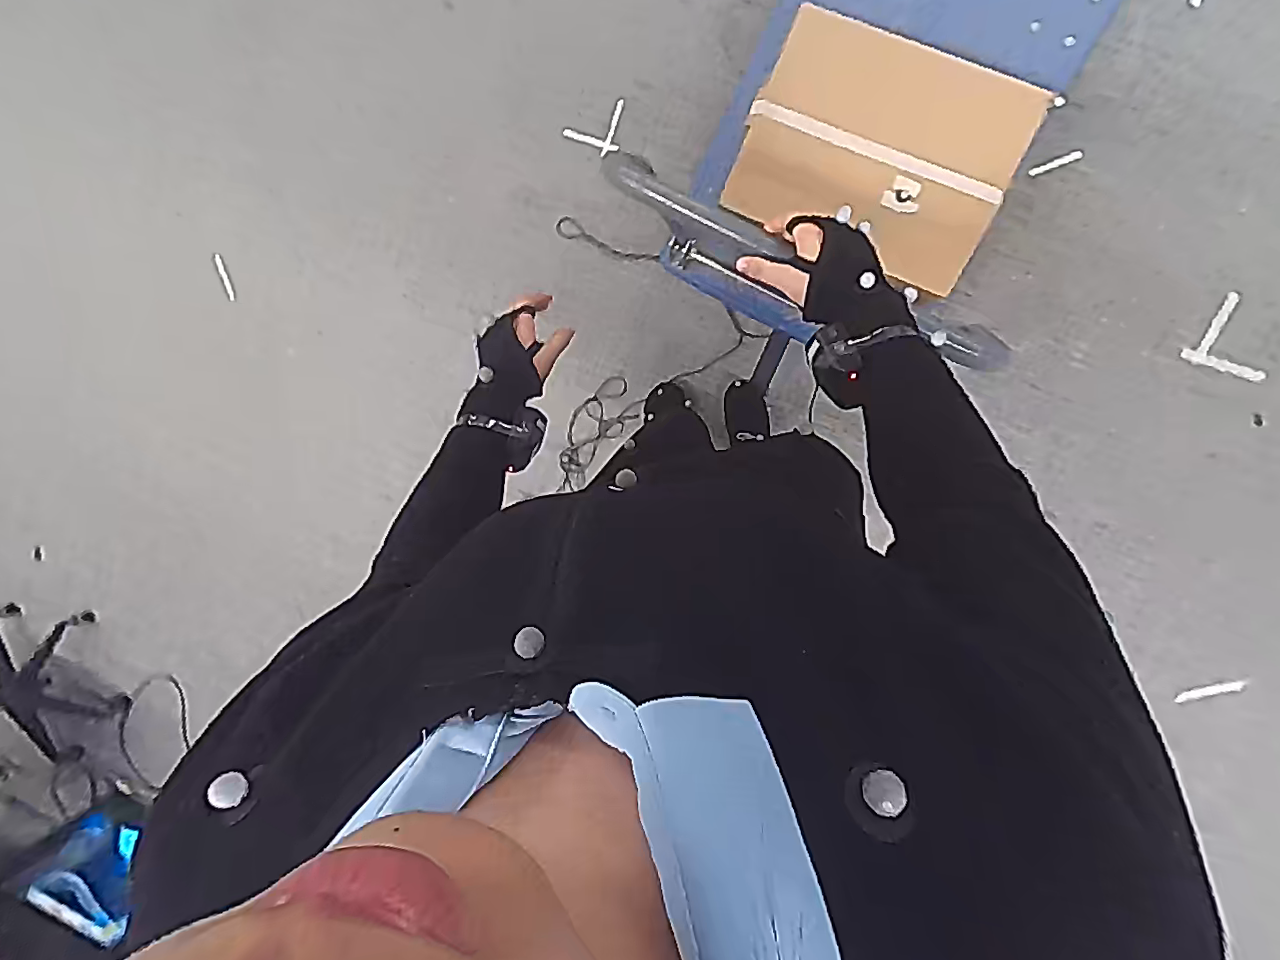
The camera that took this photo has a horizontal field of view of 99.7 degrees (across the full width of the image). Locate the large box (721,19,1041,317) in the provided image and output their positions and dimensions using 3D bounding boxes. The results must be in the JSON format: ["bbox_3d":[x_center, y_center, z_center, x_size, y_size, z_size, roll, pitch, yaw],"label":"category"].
[{"bbox_3d":[0.395,-0.540,1.012,0.408,0.320,0.320,25,104,5],"label":"large box"}]
